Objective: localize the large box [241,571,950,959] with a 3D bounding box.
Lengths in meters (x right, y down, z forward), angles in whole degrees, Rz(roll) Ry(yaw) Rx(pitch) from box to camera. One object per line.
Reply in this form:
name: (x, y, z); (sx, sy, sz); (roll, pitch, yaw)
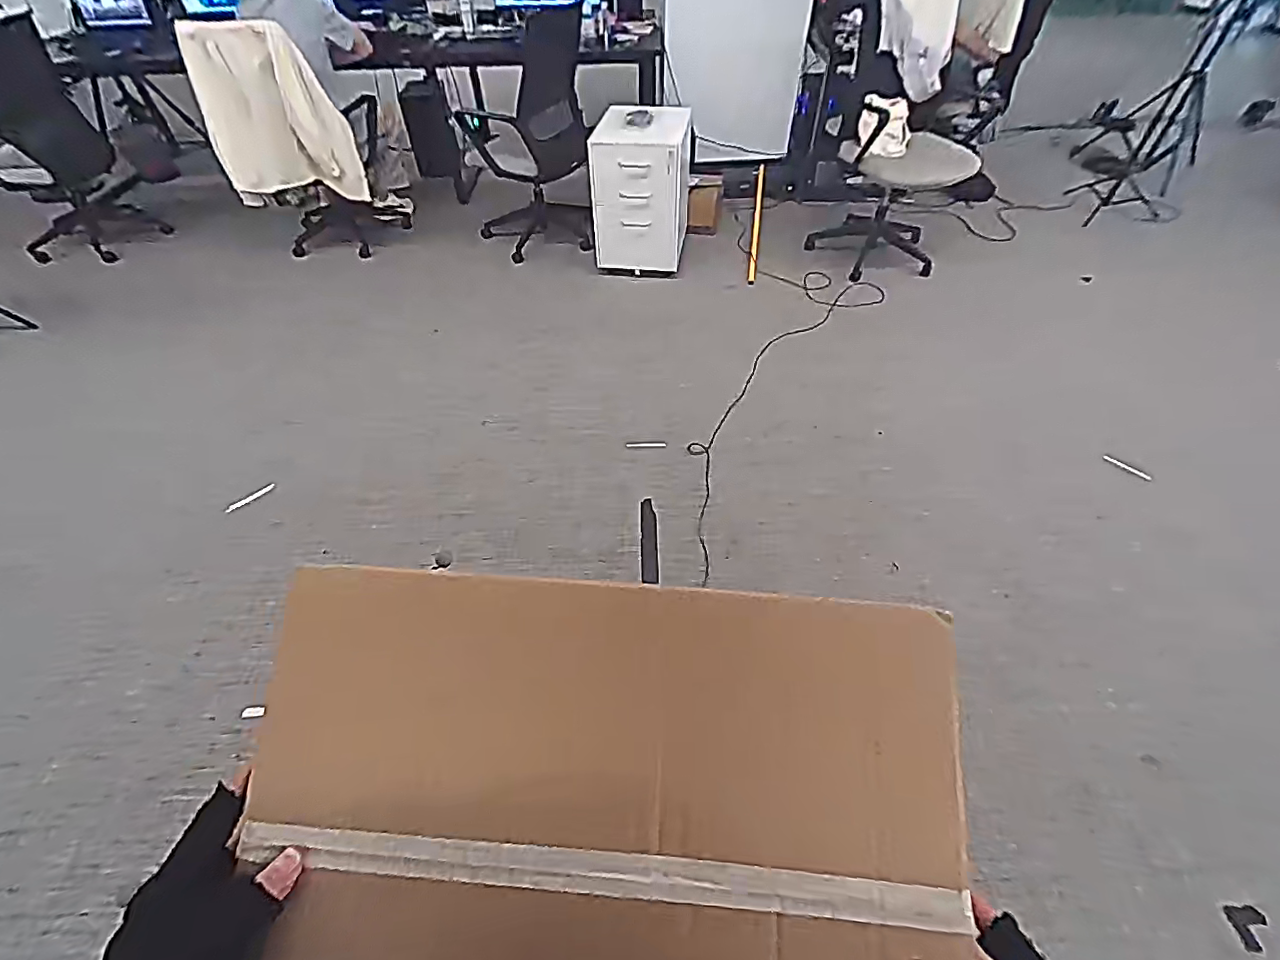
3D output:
large box: (-0.020, 0.252, 0.458); (0.408, 0.320, 0.320); (3, 78, 4)
